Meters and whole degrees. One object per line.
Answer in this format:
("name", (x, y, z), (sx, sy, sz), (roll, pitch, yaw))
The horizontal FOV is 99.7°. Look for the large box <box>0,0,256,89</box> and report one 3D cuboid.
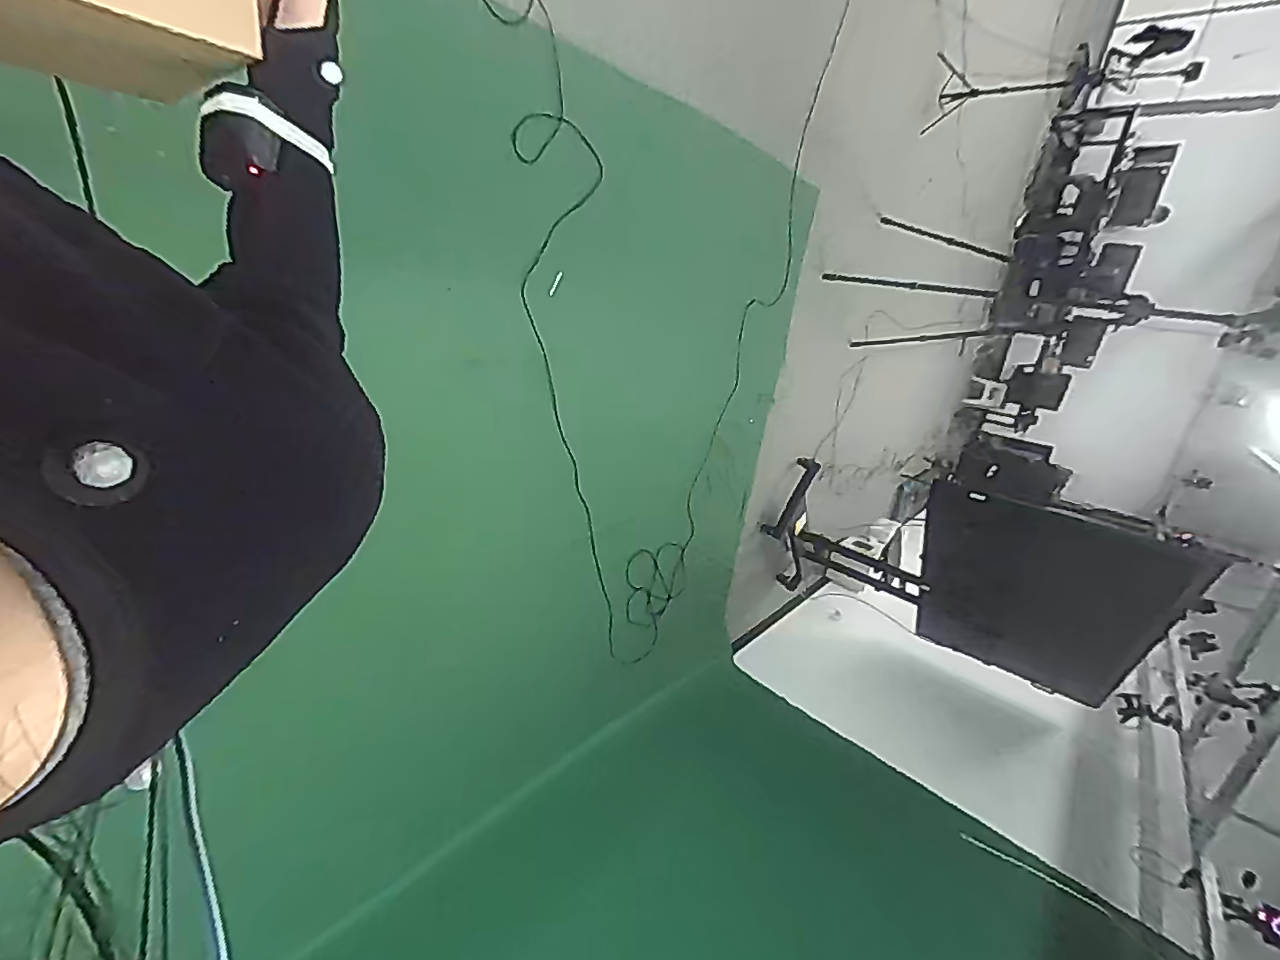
("large box", (-0.526, -0.481, 0.319), (0.408, 0.320, 0.320), (-16, 120, -46))
